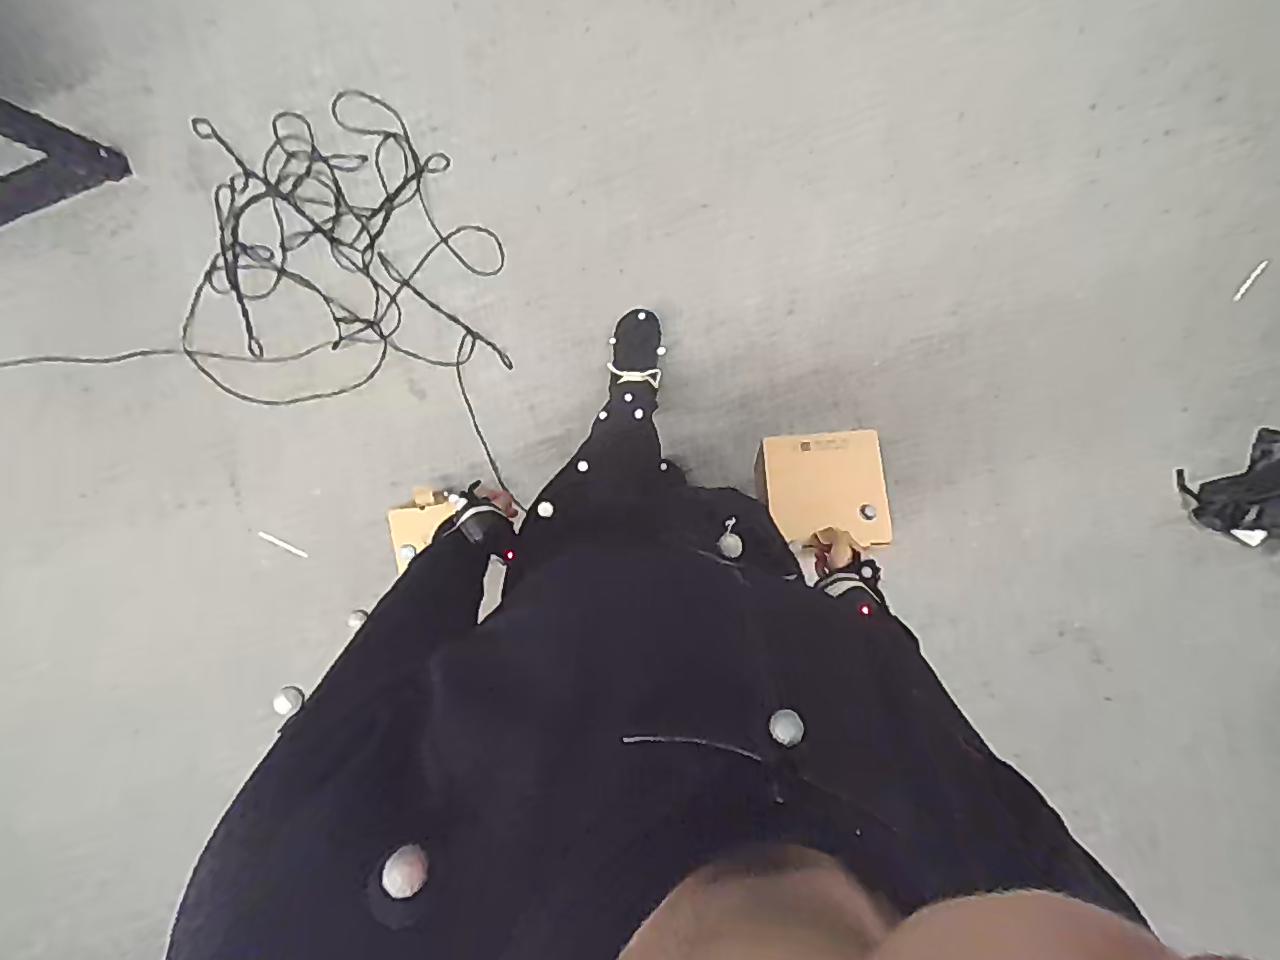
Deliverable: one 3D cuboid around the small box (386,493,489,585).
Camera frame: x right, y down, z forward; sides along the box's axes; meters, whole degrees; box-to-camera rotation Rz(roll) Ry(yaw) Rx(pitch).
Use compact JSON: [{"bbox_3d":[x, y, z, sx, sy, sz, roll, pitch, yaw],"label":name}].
[{"bbox_3d":[-0.476,0.136,1.300,0.168,0.176,0.179,-8,97,3],"label":"small box"}]
